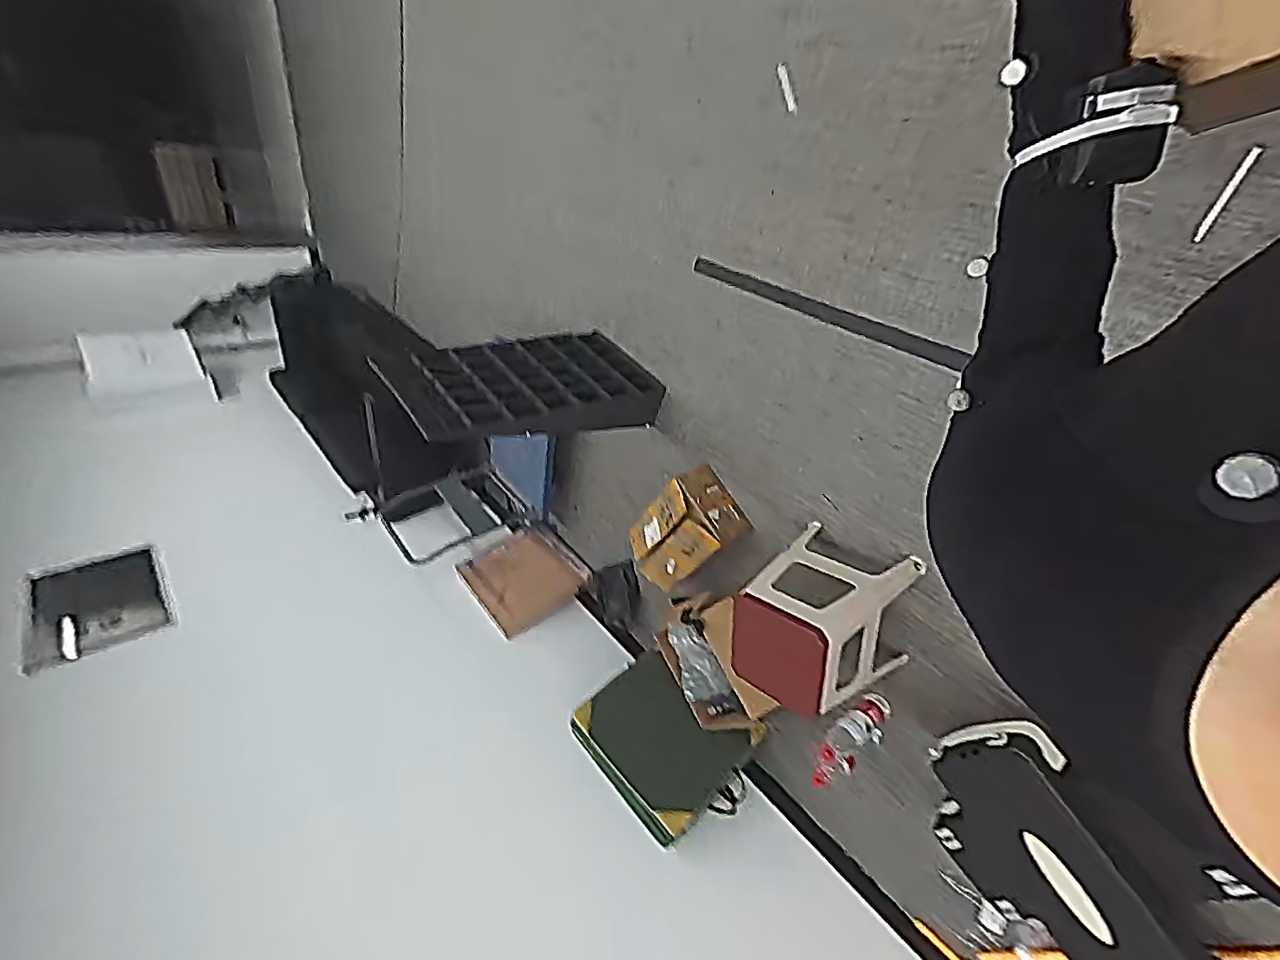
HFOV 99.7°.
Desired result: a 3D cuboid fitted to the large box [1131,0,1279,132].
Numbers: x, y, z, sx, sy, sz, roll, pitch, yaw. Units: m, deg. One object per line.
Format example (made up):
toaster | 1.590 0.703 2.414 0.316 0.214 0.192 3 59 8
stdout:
large box | 0.544 -0.441 0.276 0.408 0.320 0.320 6 113 50
